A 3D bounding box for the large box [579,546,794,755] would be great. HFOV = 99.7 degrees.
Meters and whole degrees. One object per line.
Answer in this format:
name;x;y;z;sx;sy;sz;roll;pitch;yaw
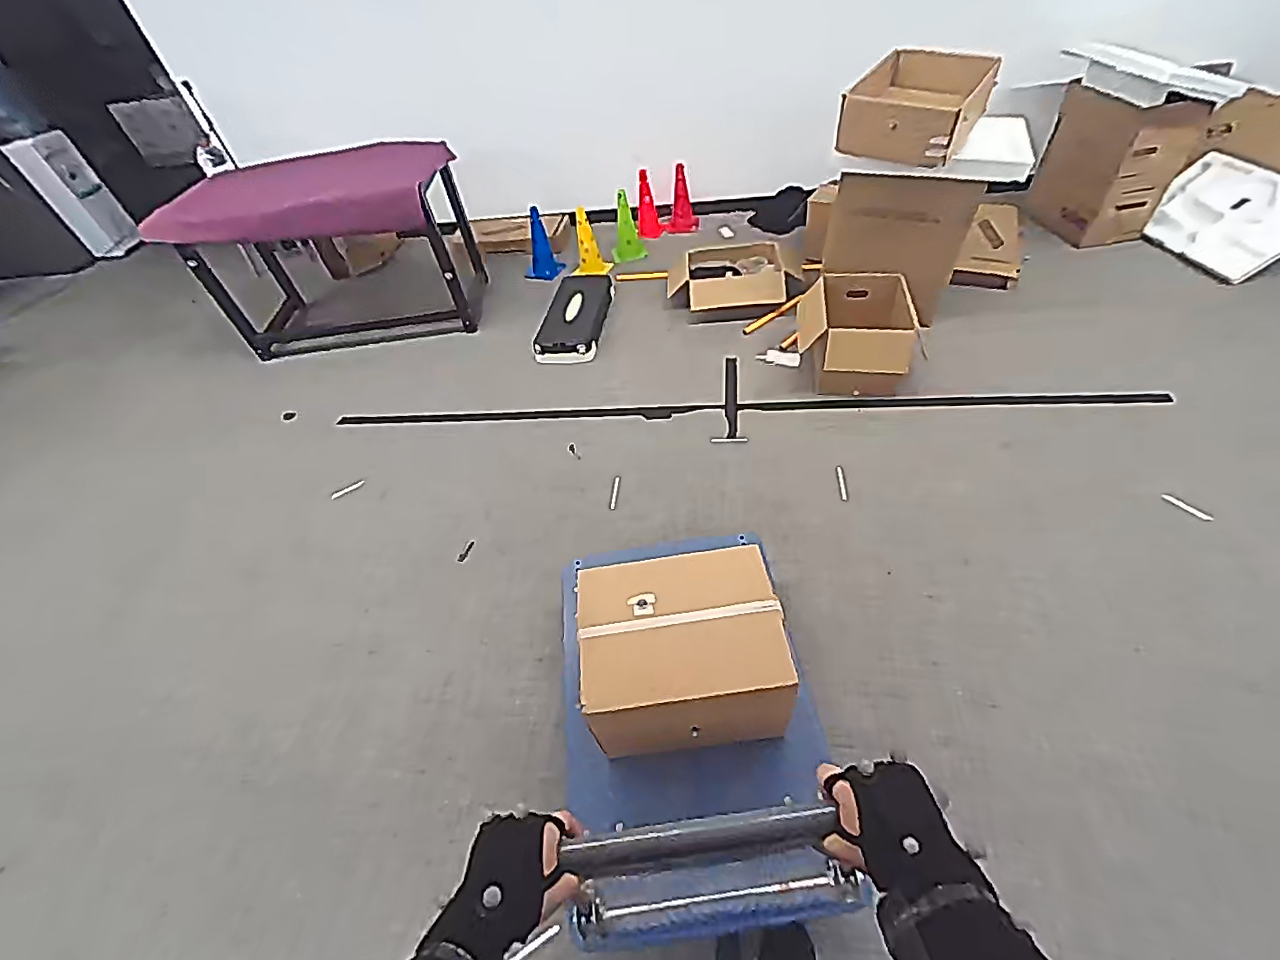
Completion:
large box;0.096;0.391;1.220;0.408;0.320;0.320;-10;47;2
